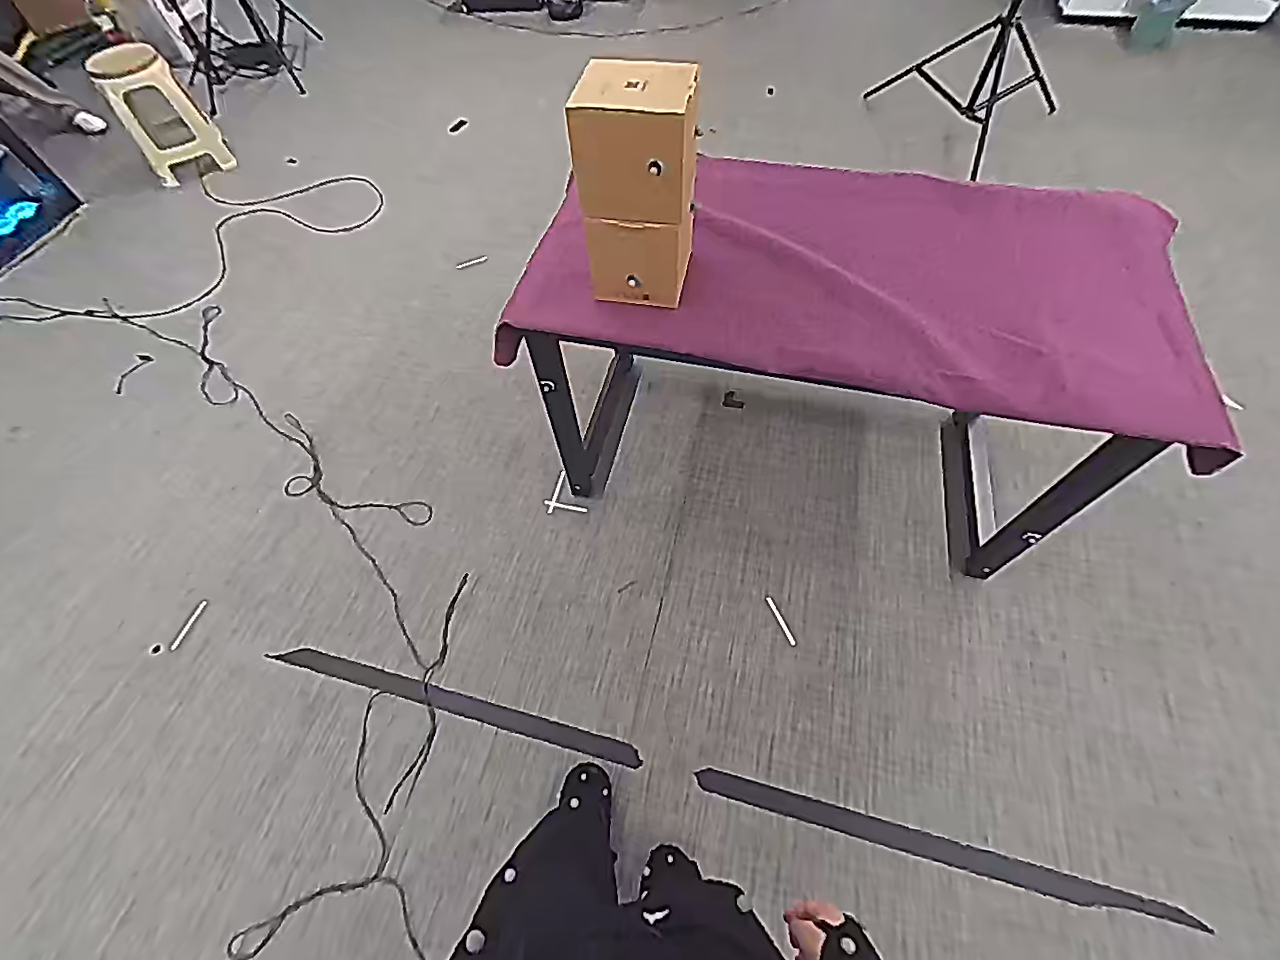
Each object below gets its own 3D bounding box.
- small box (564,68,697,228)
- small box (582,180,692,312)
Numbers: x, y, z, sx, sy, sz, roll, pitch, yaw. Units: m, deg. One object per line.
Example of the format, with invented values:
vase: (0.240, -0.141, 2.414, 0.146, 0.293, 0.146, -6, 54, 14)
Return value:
small box: (-0.008, -0.532, 0.875, 0.179, 0.176, 0.168, 7, 57, 8)
small box: (0.000, -0.445, 1.012, 0.168, 0.176, 0.179, 8, 59, 8)
